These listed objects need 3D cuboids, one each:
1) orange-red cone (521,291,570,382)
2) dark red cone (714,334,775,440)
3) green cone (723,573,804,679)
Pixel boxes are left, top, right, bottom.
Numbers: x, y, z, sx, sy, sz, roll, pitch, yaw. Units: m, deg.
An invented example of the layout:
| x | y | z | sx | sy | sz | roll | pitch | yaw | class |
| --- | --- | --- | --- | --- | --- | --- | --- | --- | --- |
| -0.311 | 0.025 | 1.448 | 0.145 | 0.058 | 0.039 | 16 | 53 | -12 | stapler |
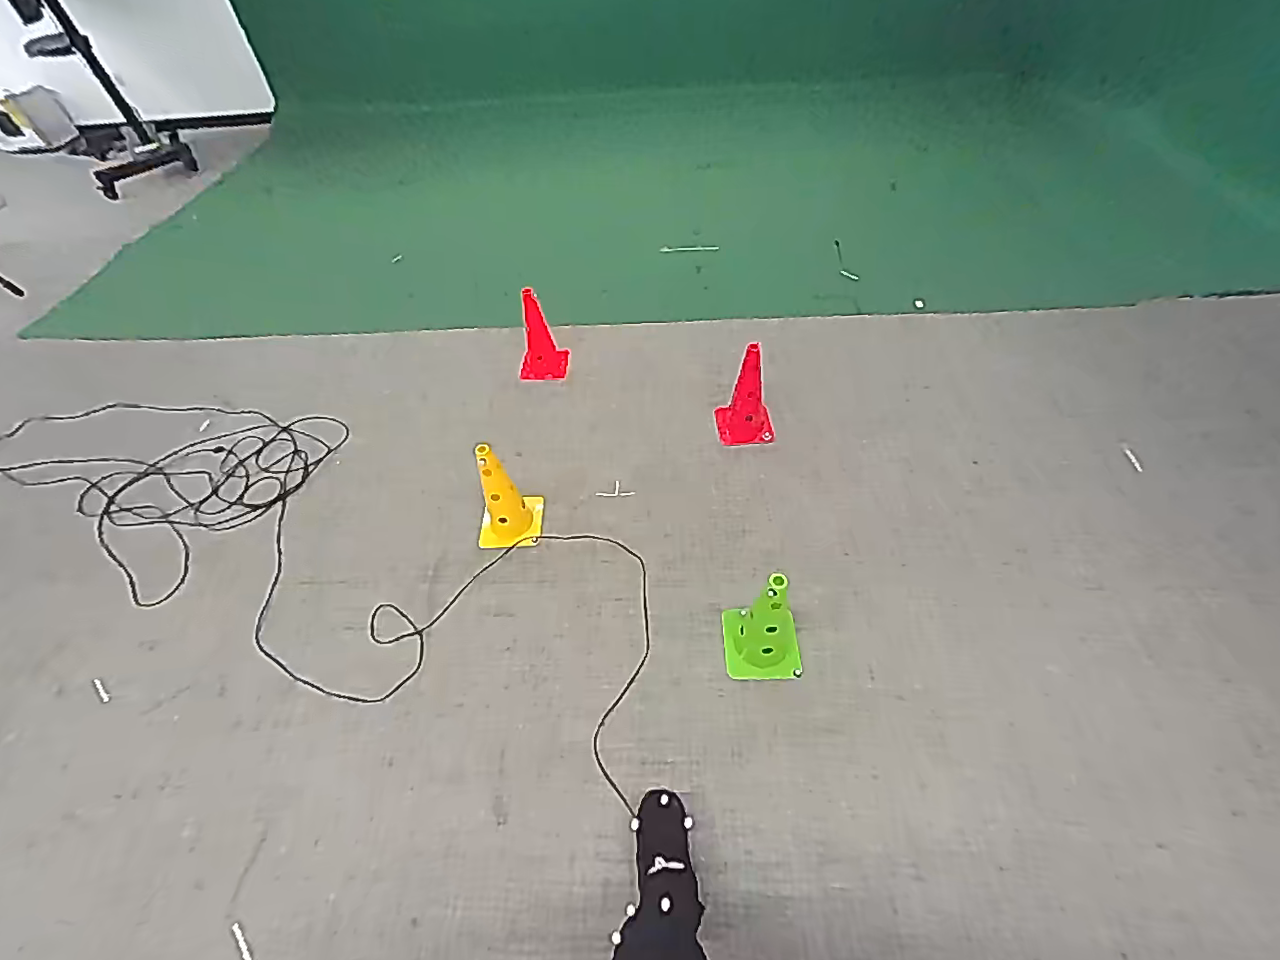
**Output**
| x | y | z | sx | sy | sz | roll | pitch | yaw | class |
| --- | --- | --- | --- | --- | --- | --- | --- | --- | --- |
| -0.419 | -0.596 | 2.192 | 0.198 | 0.360 | 0.199 | -2 | 51 | 5 | orange-red cone |
| 0.374 | -0.331 | 1.878 | 0.202 | 0.394 | 0.201 | -5 | 49 | 0 | dark red cone |
| 0.323 | 0.337 | 1.359 | 0.202 | 0.368 | 0.200 | -3 | 50 | 4 | green cone |
